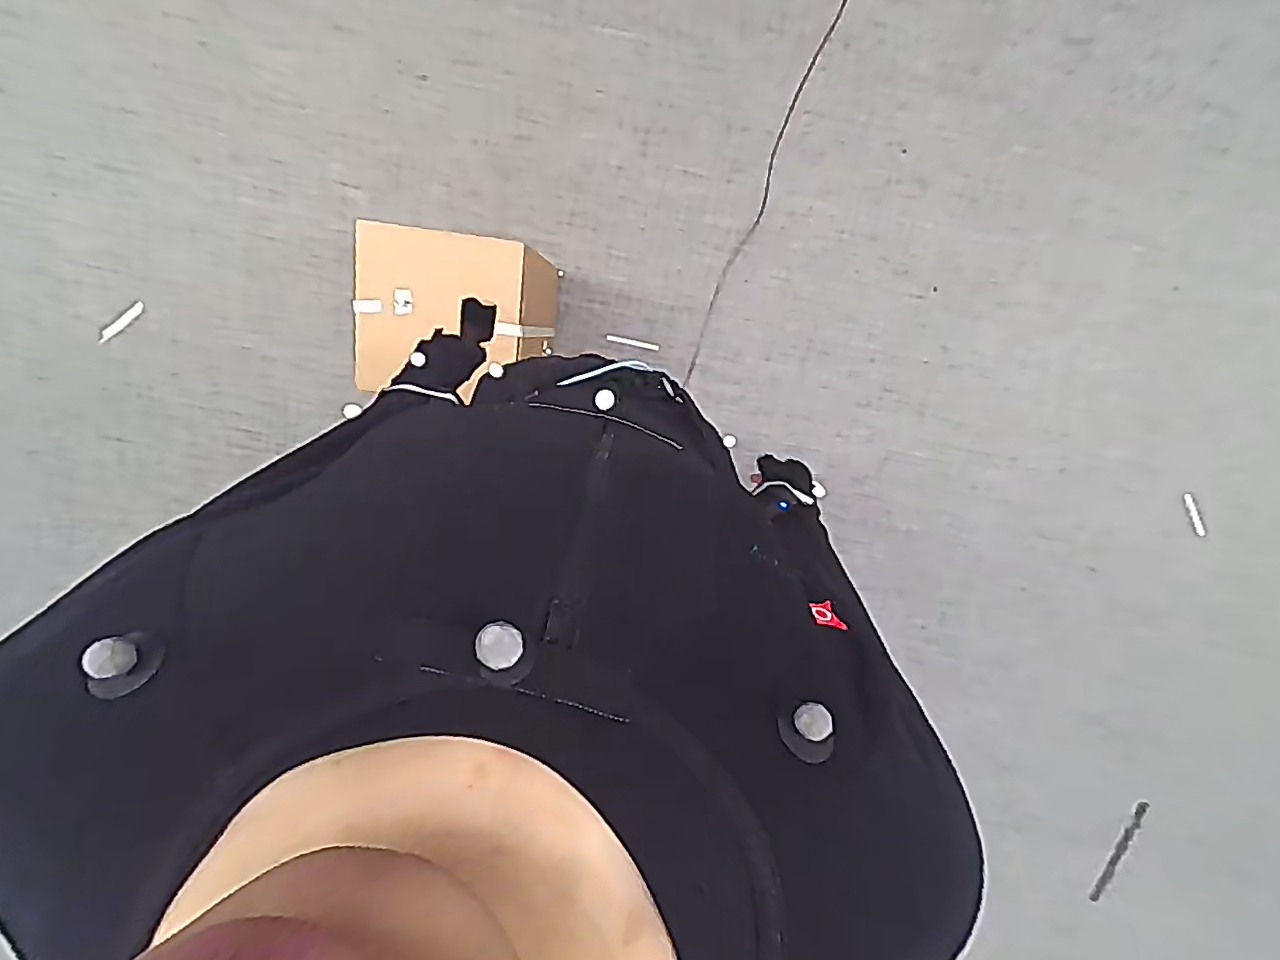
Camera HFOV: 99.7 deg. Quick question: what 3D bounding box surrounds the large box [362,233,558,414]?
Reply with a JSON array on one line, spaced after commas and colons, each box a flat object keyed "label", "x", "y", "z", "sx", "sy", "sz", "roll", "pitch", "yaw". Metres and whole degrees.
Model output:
[{"label": "large box", "x": -0.378, "y": -0.348, "z": 1.218, "sx": 0.320, "sy": 0.408, "sz": 0.320, "roll": 8, "pitch": 105, "yaw": -2}]
